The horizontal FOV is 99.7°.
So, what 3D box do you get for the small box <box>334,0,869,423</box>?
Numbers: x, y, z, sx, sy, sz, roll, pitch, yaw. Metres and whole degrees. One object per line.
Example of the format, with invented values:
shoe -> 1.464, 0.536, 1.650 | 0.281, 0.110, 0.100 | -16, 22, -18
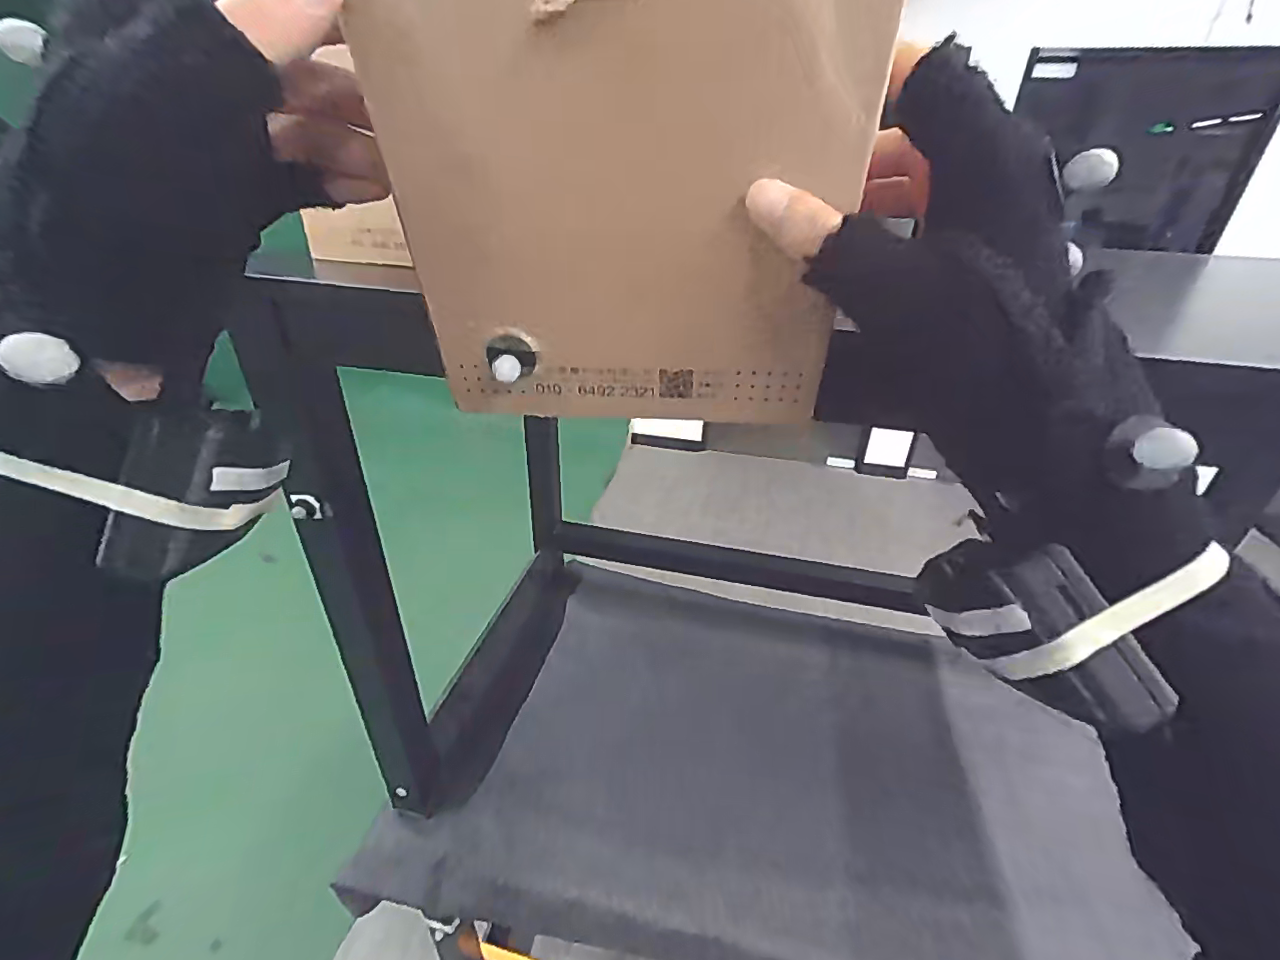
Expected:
small box -> -0.002, -0.142, 0.268 | 0.168, 0.176, 0.179 | 3, 41, 4
